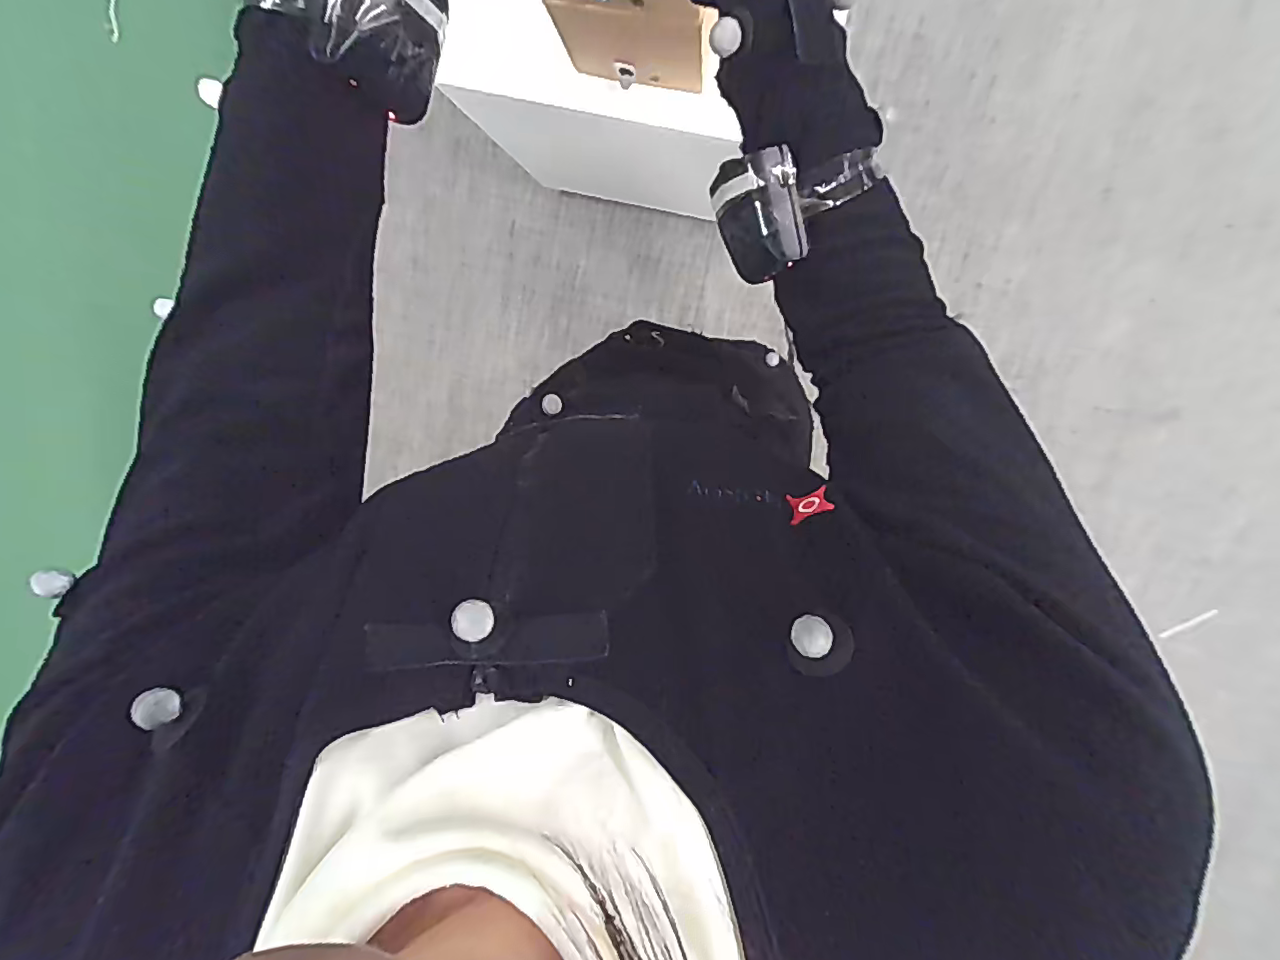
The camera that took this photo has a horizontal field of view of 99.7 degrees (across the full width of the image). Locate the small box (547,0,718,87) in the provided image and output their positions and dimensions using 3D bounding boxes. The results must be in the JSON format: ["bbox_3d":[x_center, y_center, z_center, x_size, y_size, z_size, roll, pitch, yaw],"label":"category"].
[{"bbox_3d":[0.002,-0.563,0.577,0.168,0.176,0.179,11,108,5],"label":"small box"}]

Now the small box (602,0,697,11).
[{"bbox_3d":[-0.019,-0.523,0.419,0.168,0.176,0.179,9,105,5],"label":"small box"}]
